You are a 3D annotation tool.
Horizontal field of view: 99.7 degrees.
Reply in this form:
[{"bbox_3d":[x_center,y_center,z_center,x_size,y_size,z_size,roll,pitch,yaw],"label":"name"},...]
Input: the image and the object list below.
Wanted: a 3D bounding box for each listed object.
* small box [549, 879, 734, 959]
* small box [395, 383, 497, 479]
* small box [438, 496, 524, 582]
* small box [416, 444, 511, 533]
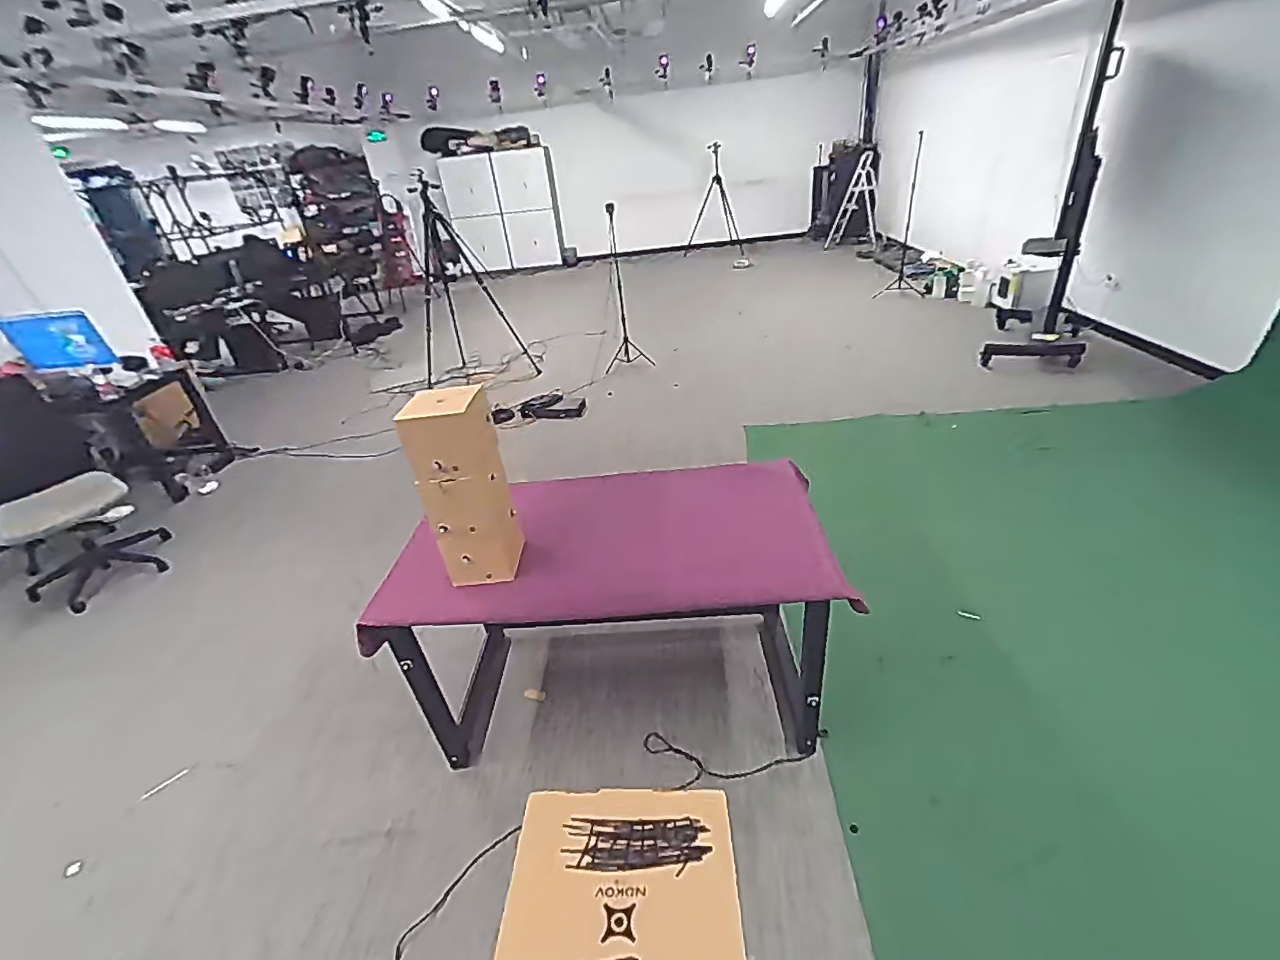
[{"bbox_3d":[0.003,0.506,0.486,0.168,0.176,0.179,-1,25,6],"label":"small box"},{"bbox_3d":[-0.455,-0.119,1.306,0.168,0.176,0.179,-6,31,4],"label":"small box"},{"bbox_3d":[-0.423,0.163,1.469,0.168,0.176,0.179,-6,31,2],"label":"small box"},{"bbox_3d":[-0.440,0.024,1.383,0.168,0.176,0.179,-5,30,3],"label":"small box"}]
